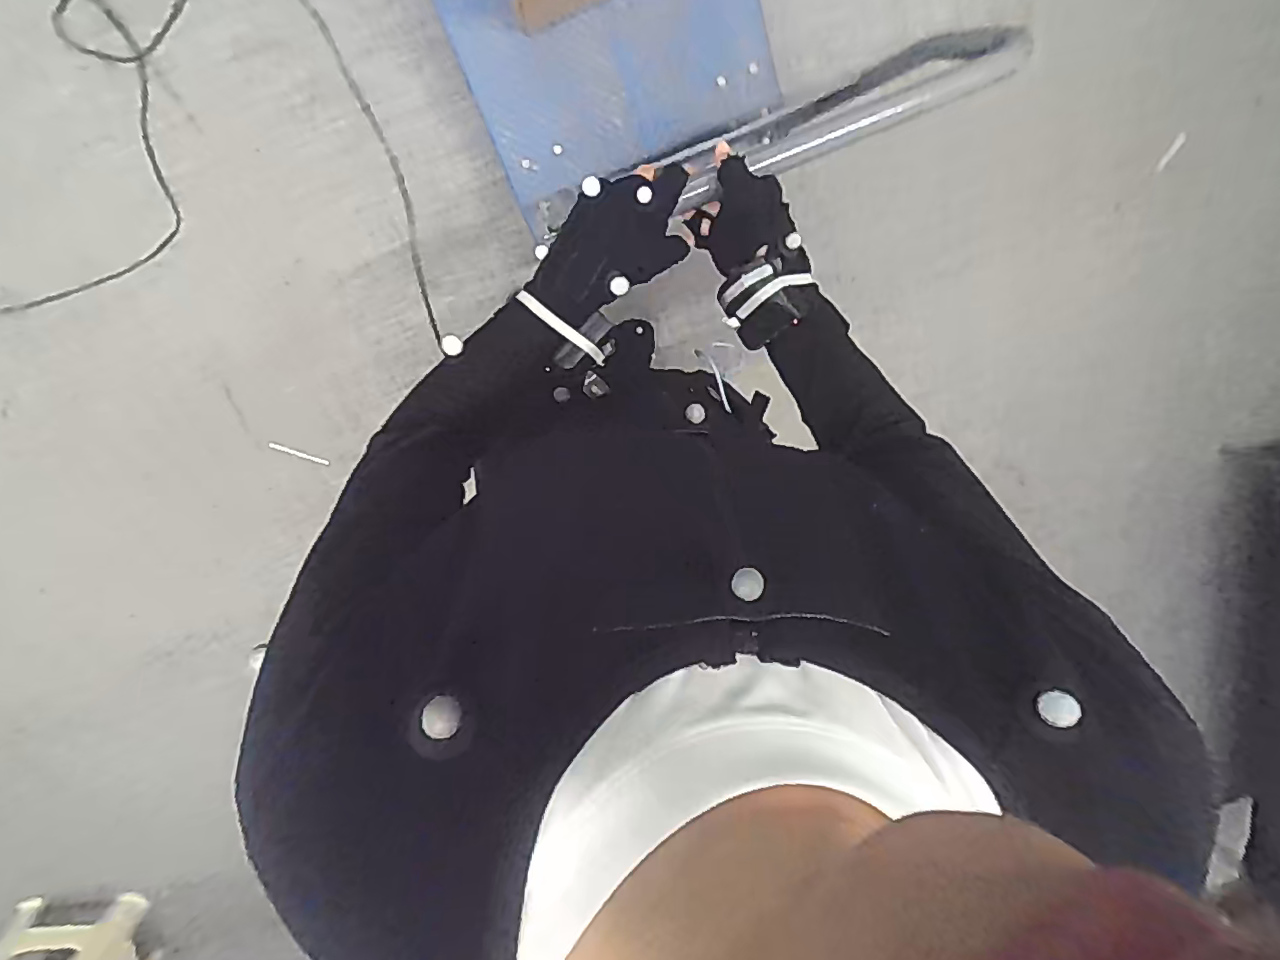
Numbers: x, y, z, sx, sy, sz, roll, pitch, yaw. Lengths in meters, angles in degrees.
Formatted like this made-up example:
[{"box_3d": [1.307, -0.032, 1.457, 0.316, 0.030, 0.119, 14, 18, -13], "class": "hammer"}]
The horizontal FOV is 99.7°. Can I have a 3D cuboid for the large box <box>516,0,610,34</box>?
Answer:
[{"box_3d": [-0.059, -0.984, 0.813, 0.408, 0.320, 0.320, -24, 111, 1], "class": "large box"}]
